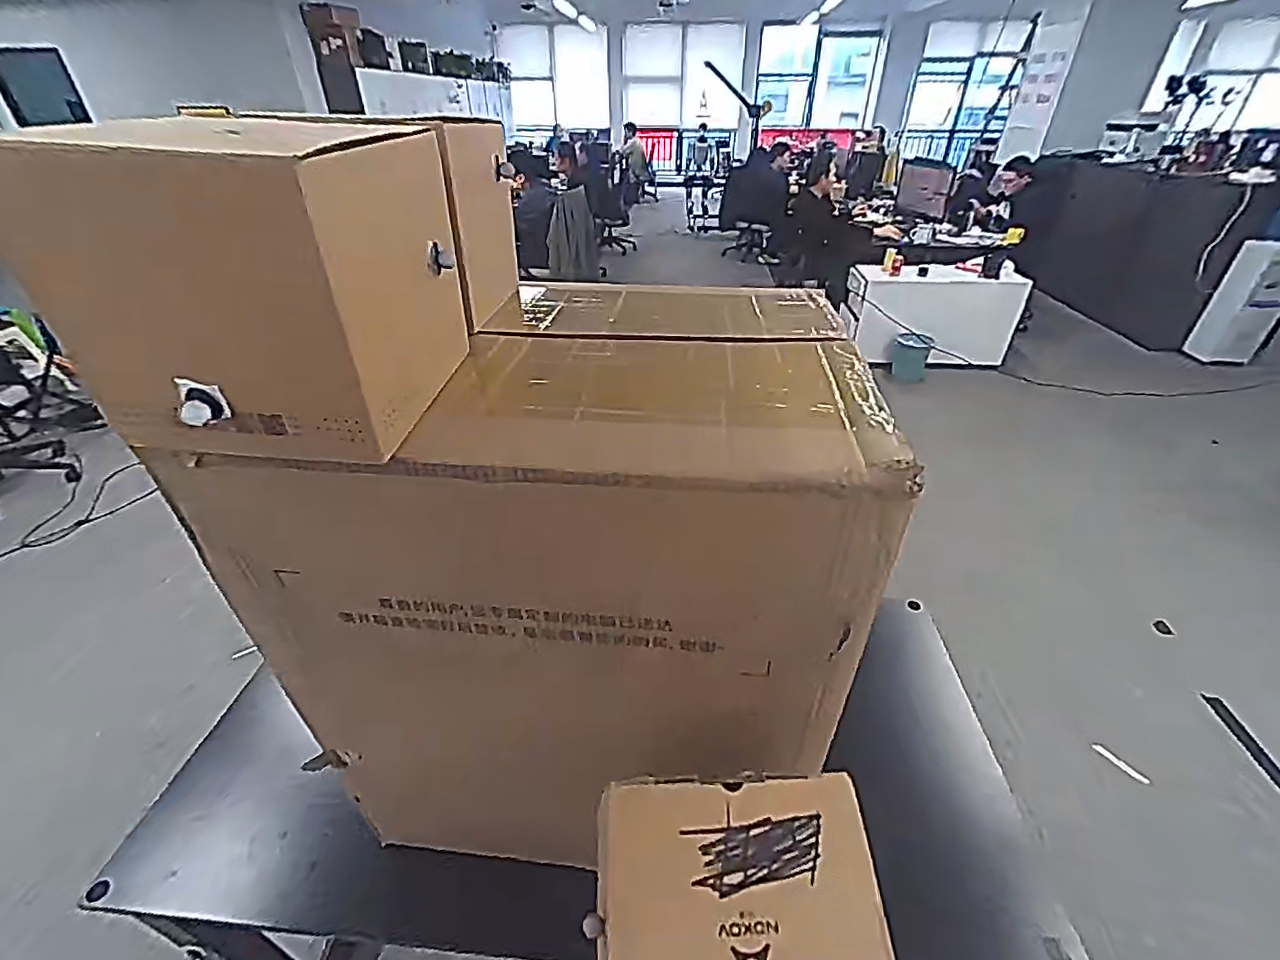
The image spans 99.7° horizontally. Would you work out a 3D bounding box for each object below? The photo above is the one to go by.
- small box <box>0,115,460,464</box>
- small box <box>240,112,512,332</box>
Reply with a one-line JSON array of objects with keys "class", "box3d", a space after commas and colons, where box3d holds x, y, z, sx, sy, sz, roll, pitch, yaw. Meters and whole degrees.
[{"class": "small box", "box3d": [-0.229, -0.130, 0.354, 0.168, 0.176, 0.179, 2, 37, 1]}, {"class": "small box", "box3d": [-0.229, -0.254, 0.530, 0.168, 0.176, 0.179, 2, 33, 3]}]
